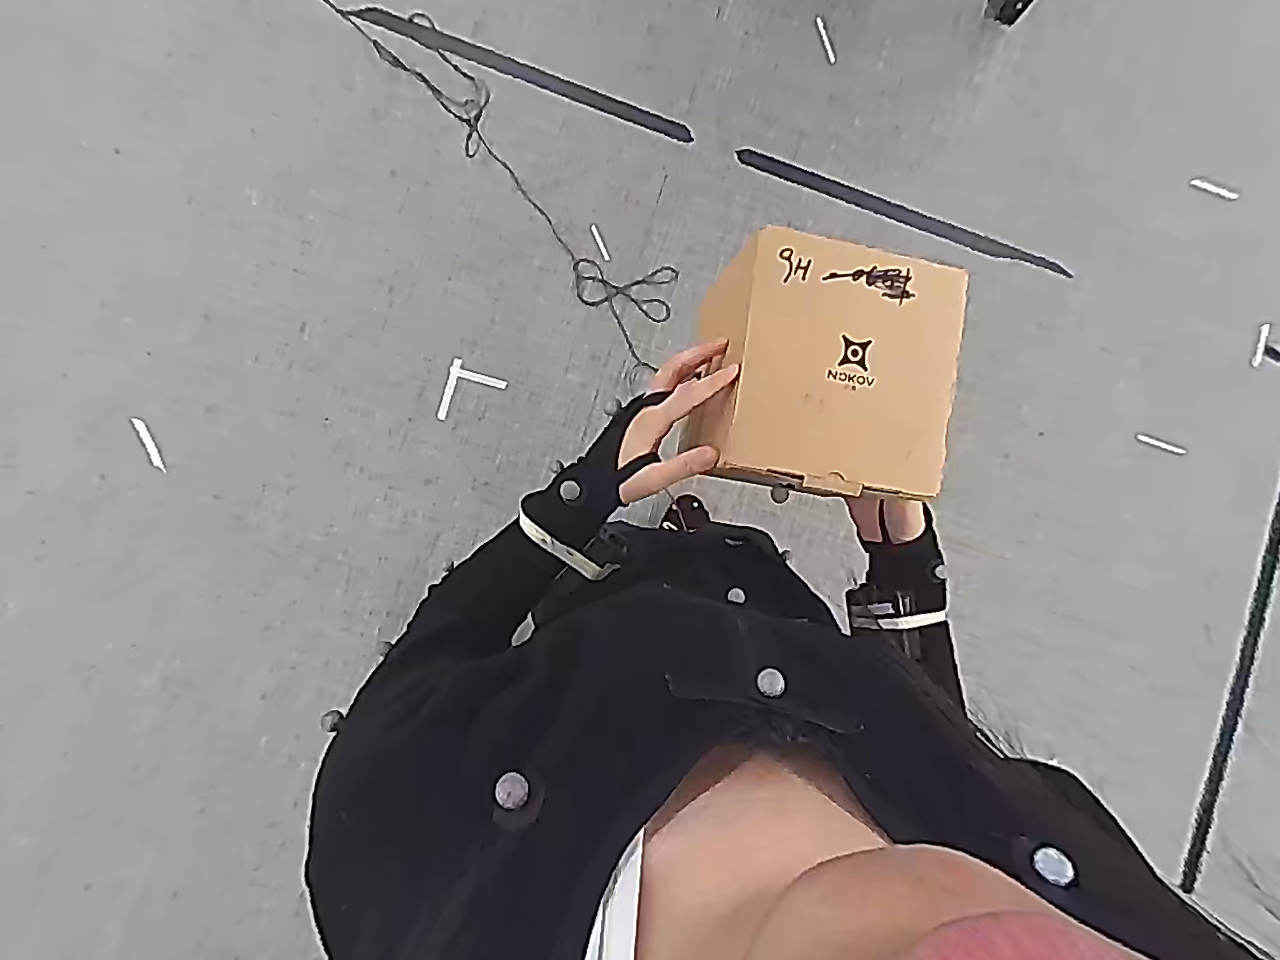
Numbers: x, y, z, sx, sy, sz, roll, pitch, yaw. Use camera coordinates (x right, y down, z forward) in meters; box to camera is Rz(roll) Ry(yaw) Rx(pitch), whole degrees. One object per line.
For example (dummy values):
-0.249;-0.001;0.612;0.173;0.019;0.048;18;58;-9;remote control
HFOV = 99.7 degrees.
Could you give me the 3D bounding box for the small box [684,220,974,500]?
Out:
0.142;-0.085;0.467;0.168;0.176;0.179;10;89;-9;small box
